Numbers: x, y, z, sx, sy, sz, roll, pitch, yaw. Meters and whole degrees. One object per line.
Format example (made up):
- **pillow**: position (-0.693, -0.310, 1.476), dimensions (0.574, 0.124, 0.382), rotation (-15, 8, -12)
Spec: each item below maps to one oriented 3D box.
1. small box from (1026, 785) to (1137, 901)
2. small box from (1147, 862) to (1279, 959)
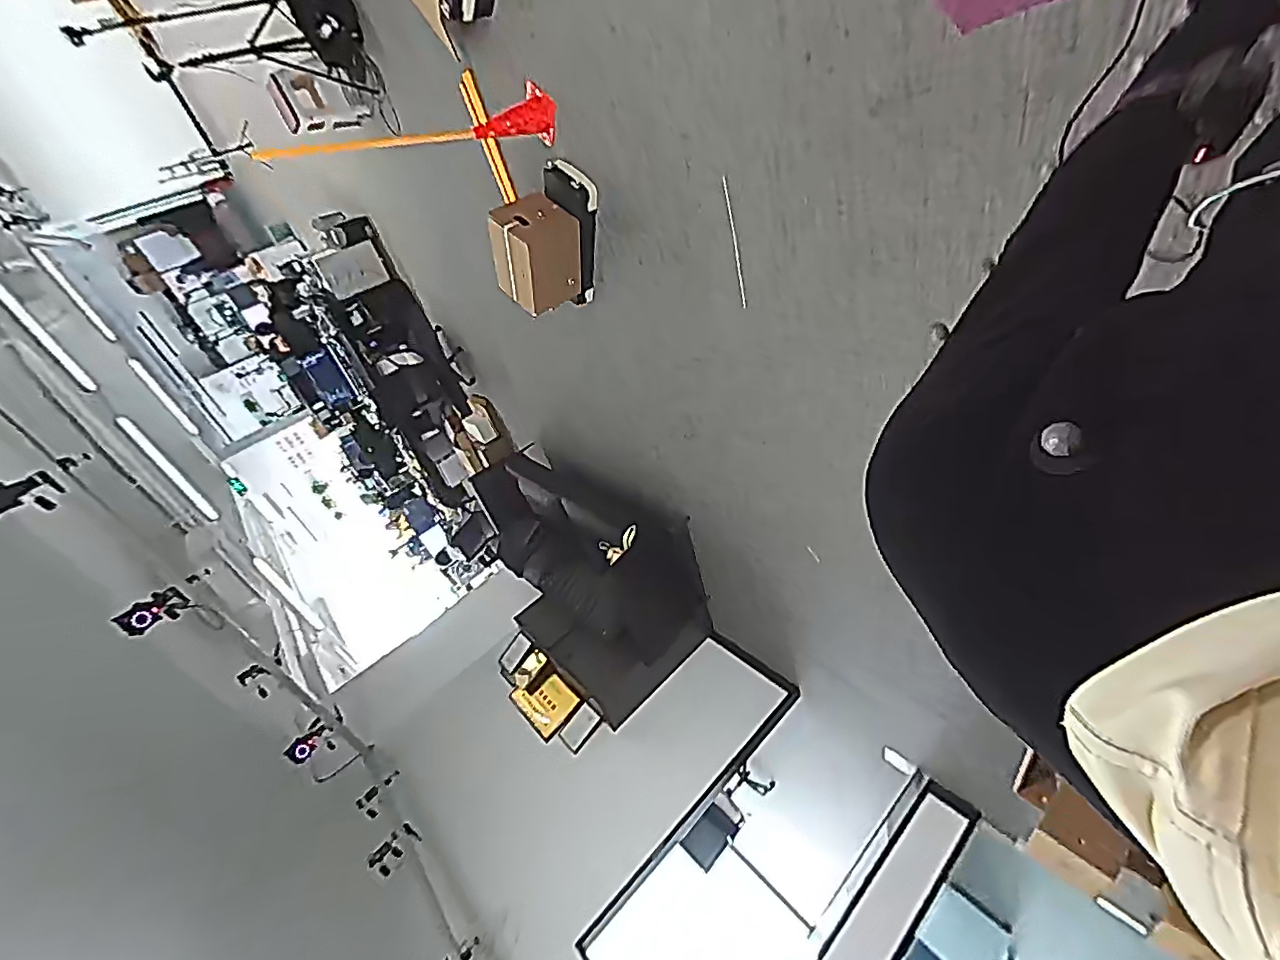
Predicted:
- **small box**: position (1.199, 0.981, 1.471), dimensions (0.179, 0.176, 0.168), rotation (29, 144, 43)
- **small box**: position (1.366, 1.068, 1.289), dimensions (0.168, 0.176, 0.179), rotation (26, 144, 43)
